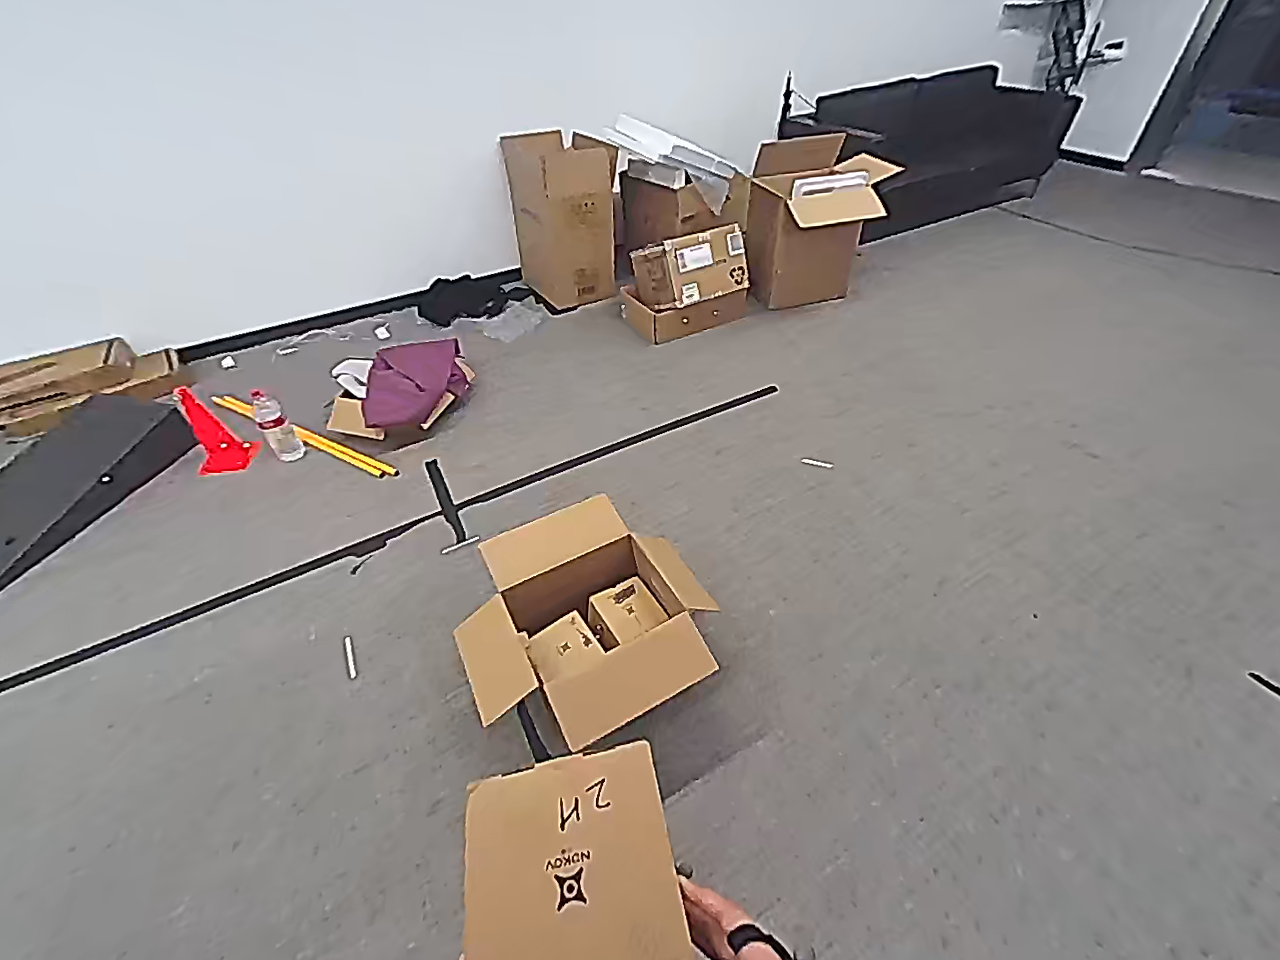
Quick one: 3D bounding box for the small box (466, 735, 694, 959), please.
[{"bbox_3d":[-0.049,0.363,0.485,0.168,0.176,0.179,-11,45,-7],"label":"small box"}]
